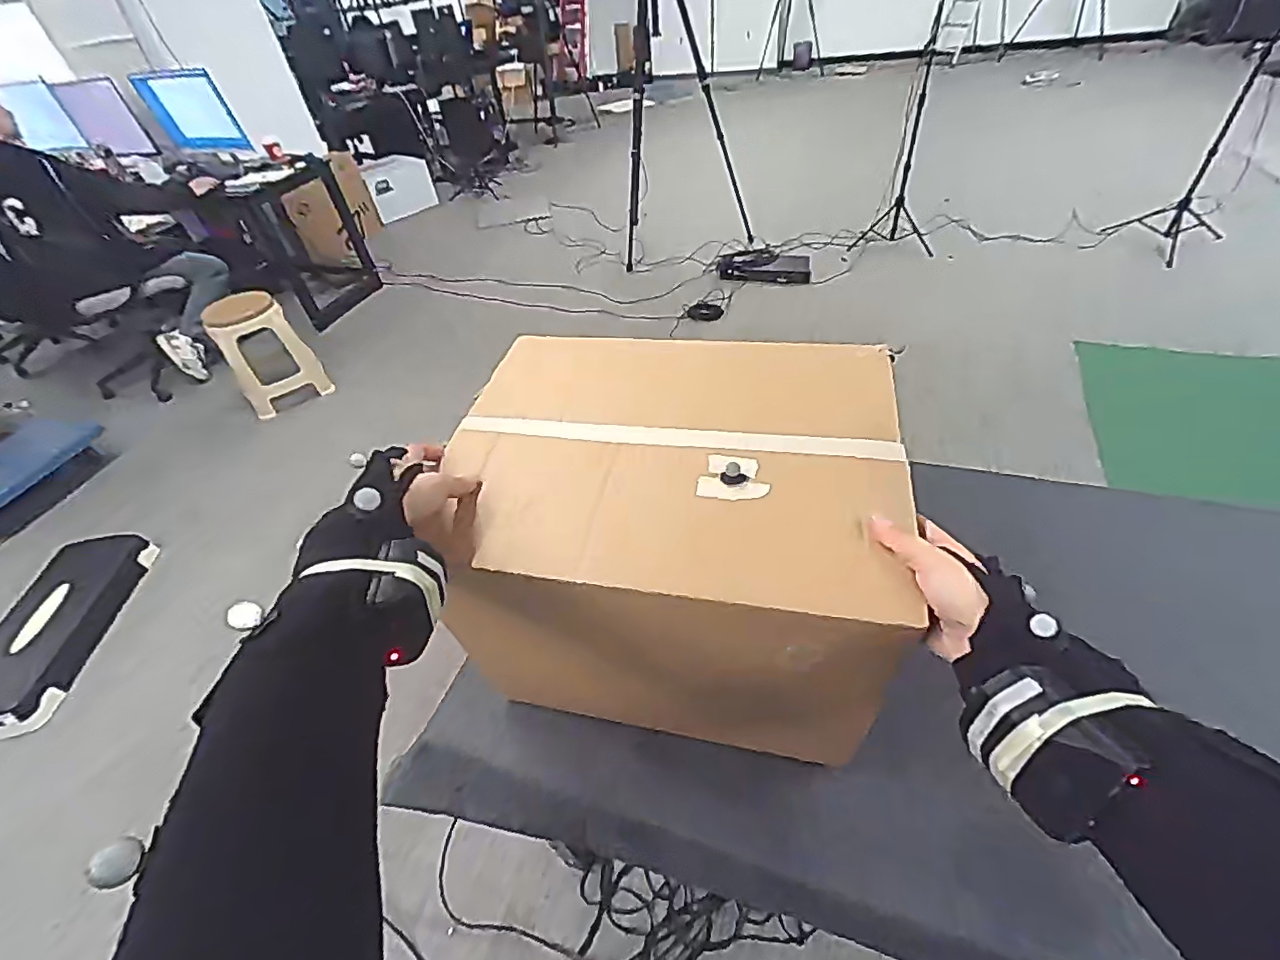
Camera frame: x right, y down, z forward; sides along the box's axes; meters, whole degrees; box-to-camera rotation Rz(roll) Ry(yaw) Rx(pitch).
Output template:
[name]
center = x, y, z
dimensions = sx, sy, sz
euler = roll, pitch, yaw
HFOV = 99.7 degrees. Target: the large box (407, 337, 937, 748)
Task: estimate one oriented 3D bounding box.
[large box]
center = 0.045, 0.061, 0.599
dimensions = 0.408, 0.320, 0.320
euler = 5, 50, 12
